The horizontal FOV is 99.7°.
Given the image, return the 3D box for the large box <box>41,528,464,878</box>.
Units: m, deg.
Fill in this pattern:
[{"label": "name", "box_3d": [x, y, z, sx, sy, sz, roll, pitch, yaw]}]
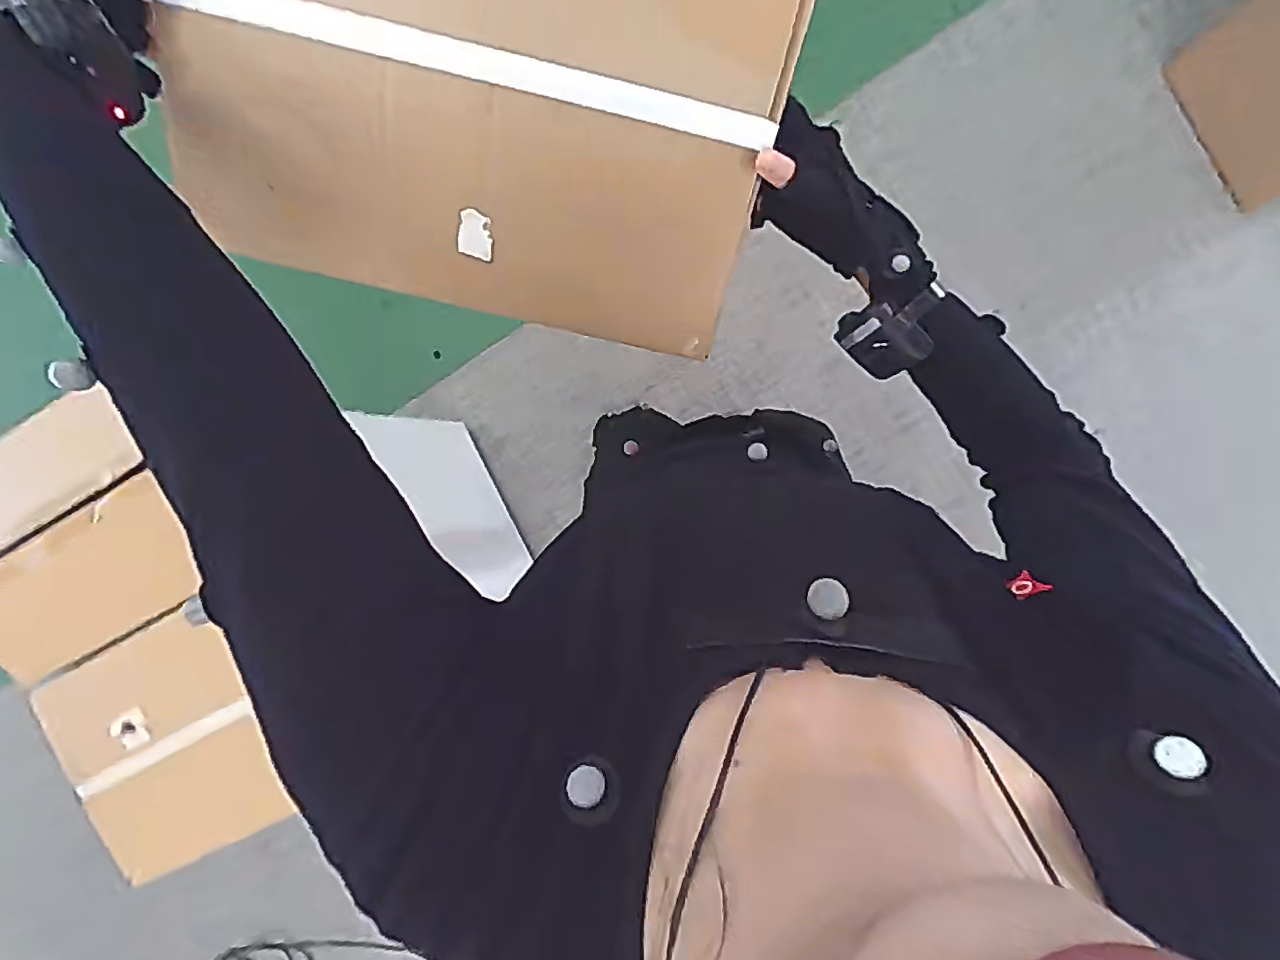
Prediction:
[{"label": "large box", "box_3d": [-0.578, 0.322, 0.873, 0.408, 0.320, 0.320, -28, 90, 10]}]
